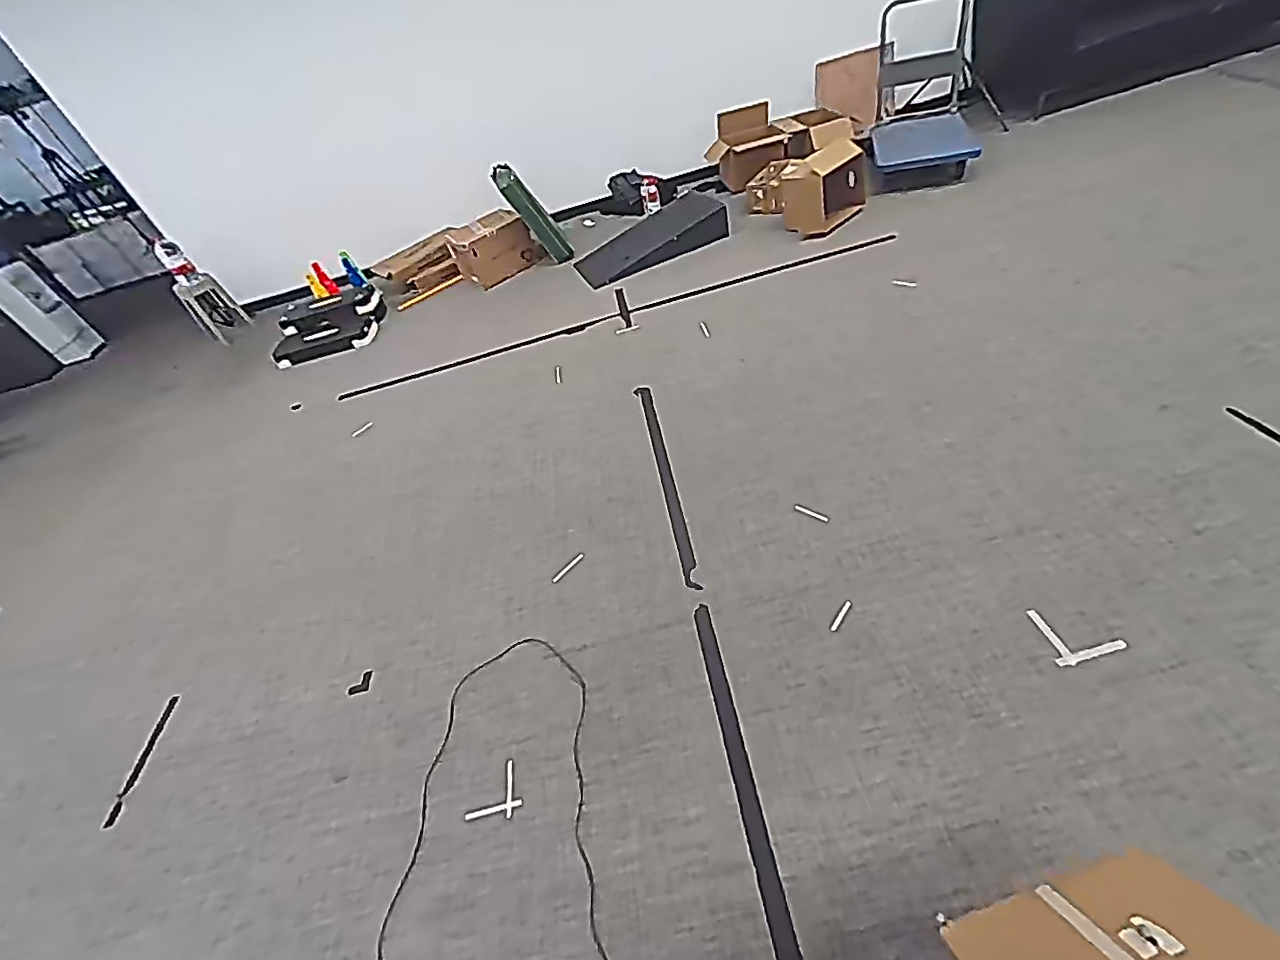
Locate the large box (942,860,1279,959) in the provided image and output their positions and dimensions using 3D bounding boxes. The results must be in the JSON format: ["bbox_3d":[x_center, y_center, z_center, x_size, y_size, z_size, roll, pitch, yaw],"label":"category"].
[{"bbox_3d":[0.615,0.702,0.552,0.320,0.408,0.320,-20,80,0],"label":"large box"}]
